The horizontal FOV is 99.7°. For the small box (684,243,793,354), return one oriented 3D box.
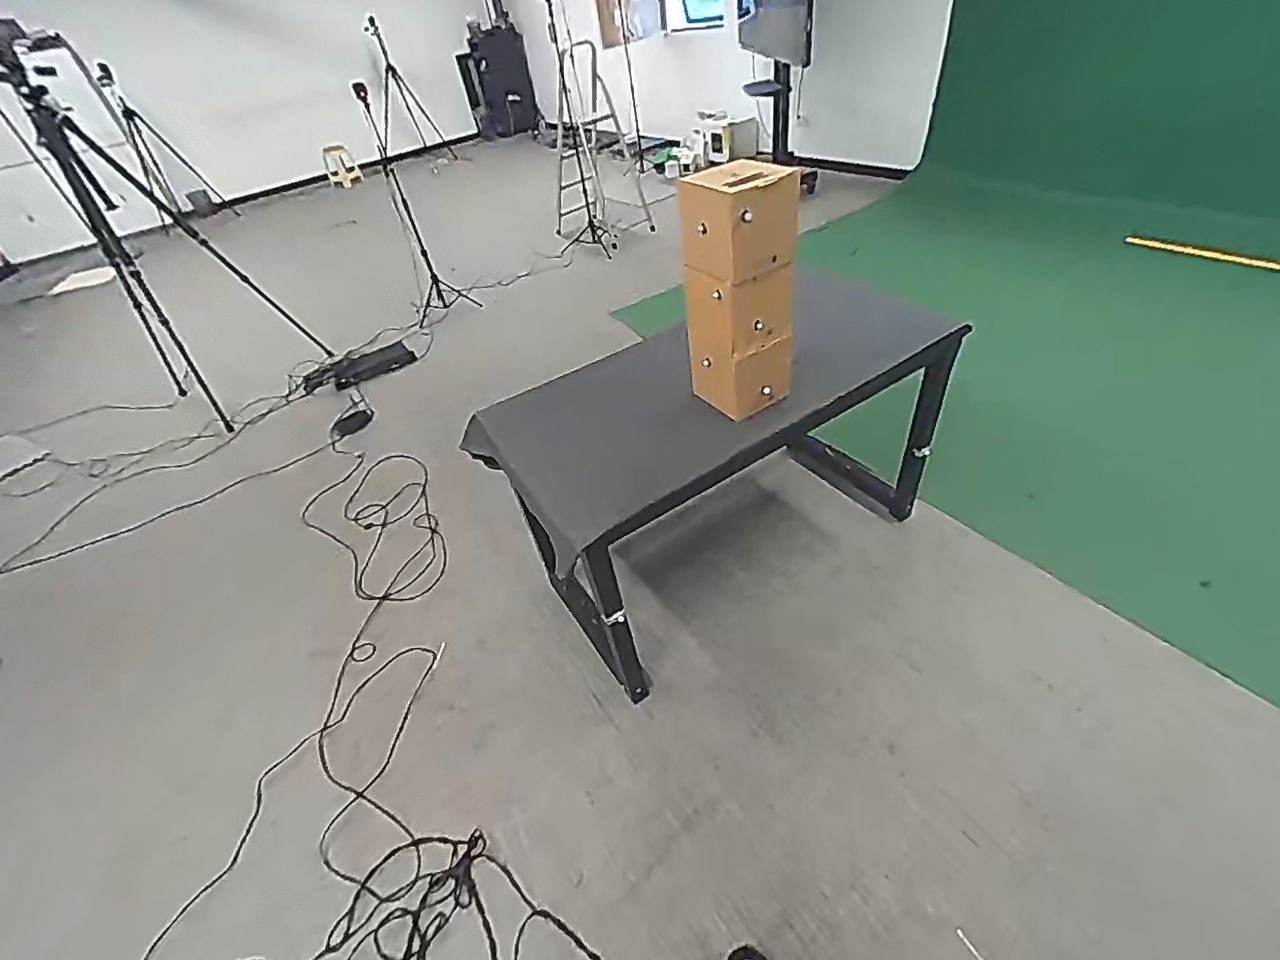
[{"bbox_3d":[0.214,-0.402,1.196,0.168,0.176,0.179,-27,44,-18],"label":"small box"}]

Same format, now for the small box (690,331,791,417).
[{"bbox_3d":[0.239,-0.276,1.296,0.168,0.176,0.179,-28,44,-18],"label":"small box"}]
